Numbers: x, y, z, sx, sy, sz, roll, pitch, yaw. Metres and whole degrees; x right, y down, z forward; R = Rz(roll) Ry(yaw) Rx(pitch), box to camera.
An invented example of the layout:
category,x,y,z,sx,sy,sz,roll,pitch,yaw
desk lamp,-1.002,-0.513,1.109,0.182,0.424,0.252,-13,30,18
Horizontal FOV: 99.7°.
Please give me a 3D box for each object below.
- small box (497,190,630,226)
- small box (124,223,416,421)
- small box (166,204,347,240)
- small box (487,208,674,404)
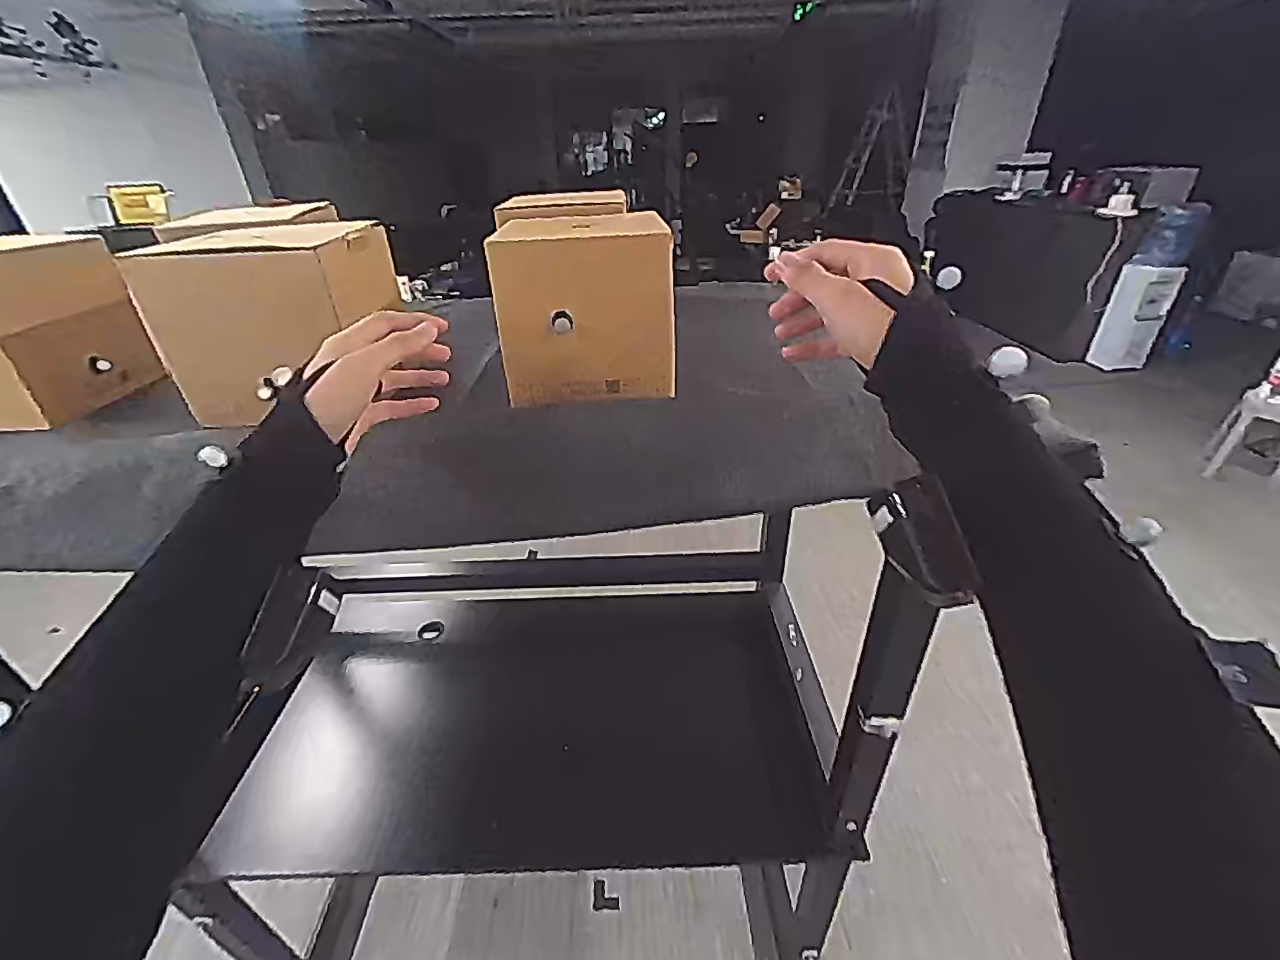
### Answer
category,x,y,z,sx,sy,sz,roll,pitch,yaw
small box,-0.101,-0.337,0.823,0.179,0.176,0.168,-2,33,1
small box,-0.362,-0.171,0.578,0.179,0.176,0.168,-2,31,-1
small box,-0.533,-0.308,0.808,0.168,0.176,0.179,-7,32,-5
small box,-0.053,-0.186,0.582,0.168,0.176,0.179,-3,31,-1
